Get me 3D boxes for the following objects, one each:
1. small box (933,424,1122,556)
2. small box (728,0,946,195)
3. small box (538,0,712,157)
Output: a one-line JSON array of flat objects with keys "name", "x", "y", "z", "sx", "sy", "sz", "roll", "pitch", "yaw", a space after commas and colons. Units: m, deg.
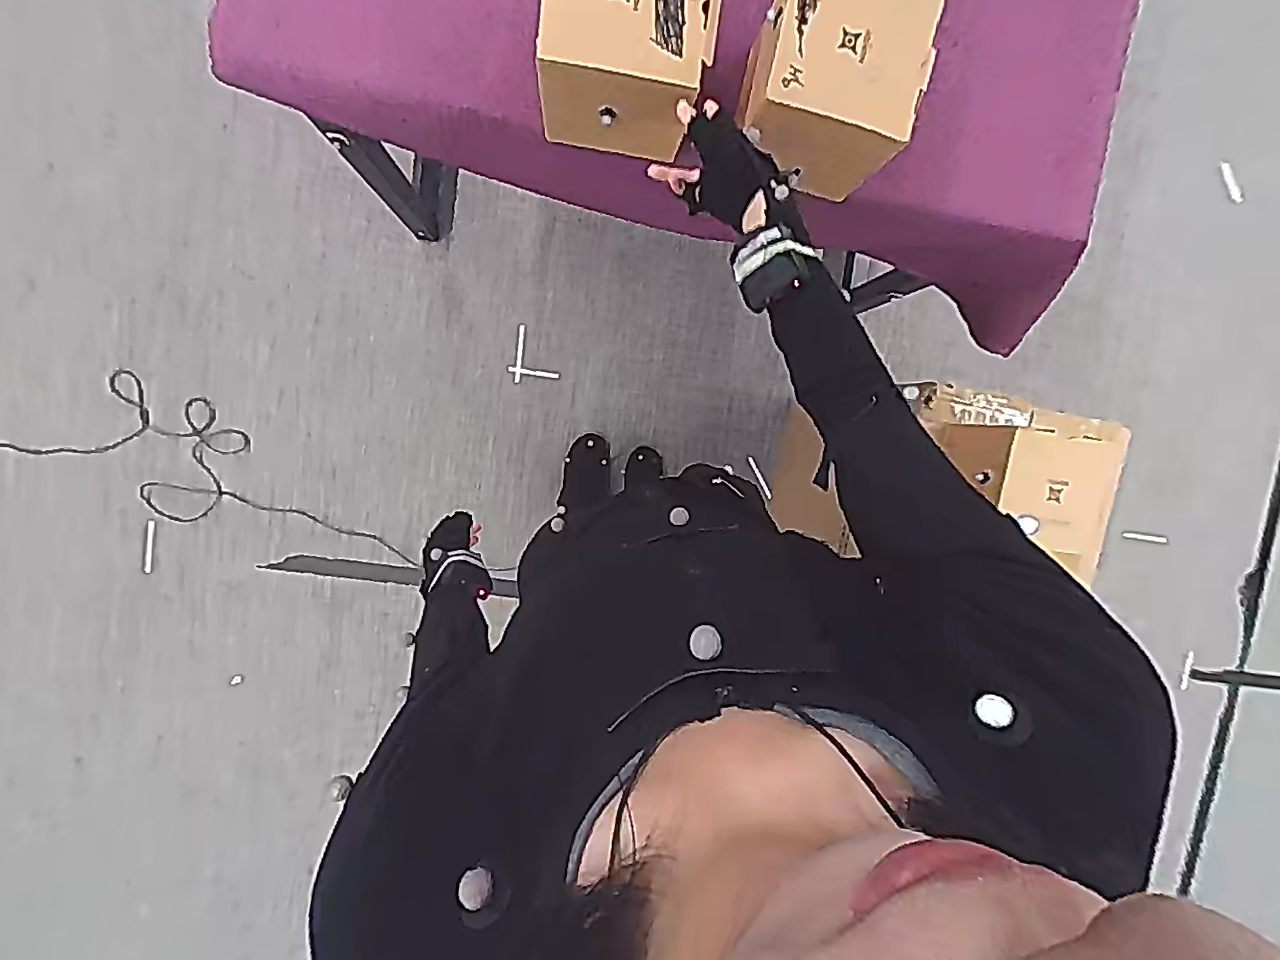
[{"name": "small box", "x": 0.603, "y": 0.007, "z": 0.865, "sx": 0.168, "sy": 0.176, "sz": 0.179, "roll": 8, "pitch": 96, "yaw": -4}, {"name": "small box", "x": 0.230, "y": -0.485, "z": 0.673, "sx": 0.179, "sy": 0.176, "sz": 0.168, "roll": 12, "pitch": 94, "yaw": -8}, {"name": "small box", "x": -0.018, "y": -0.516, "z": 0.642, "sx": 0.179, "sy": 0.176, "sz": 0.168, "roll": 7, "pitch": 94, "yaw": -5}]
